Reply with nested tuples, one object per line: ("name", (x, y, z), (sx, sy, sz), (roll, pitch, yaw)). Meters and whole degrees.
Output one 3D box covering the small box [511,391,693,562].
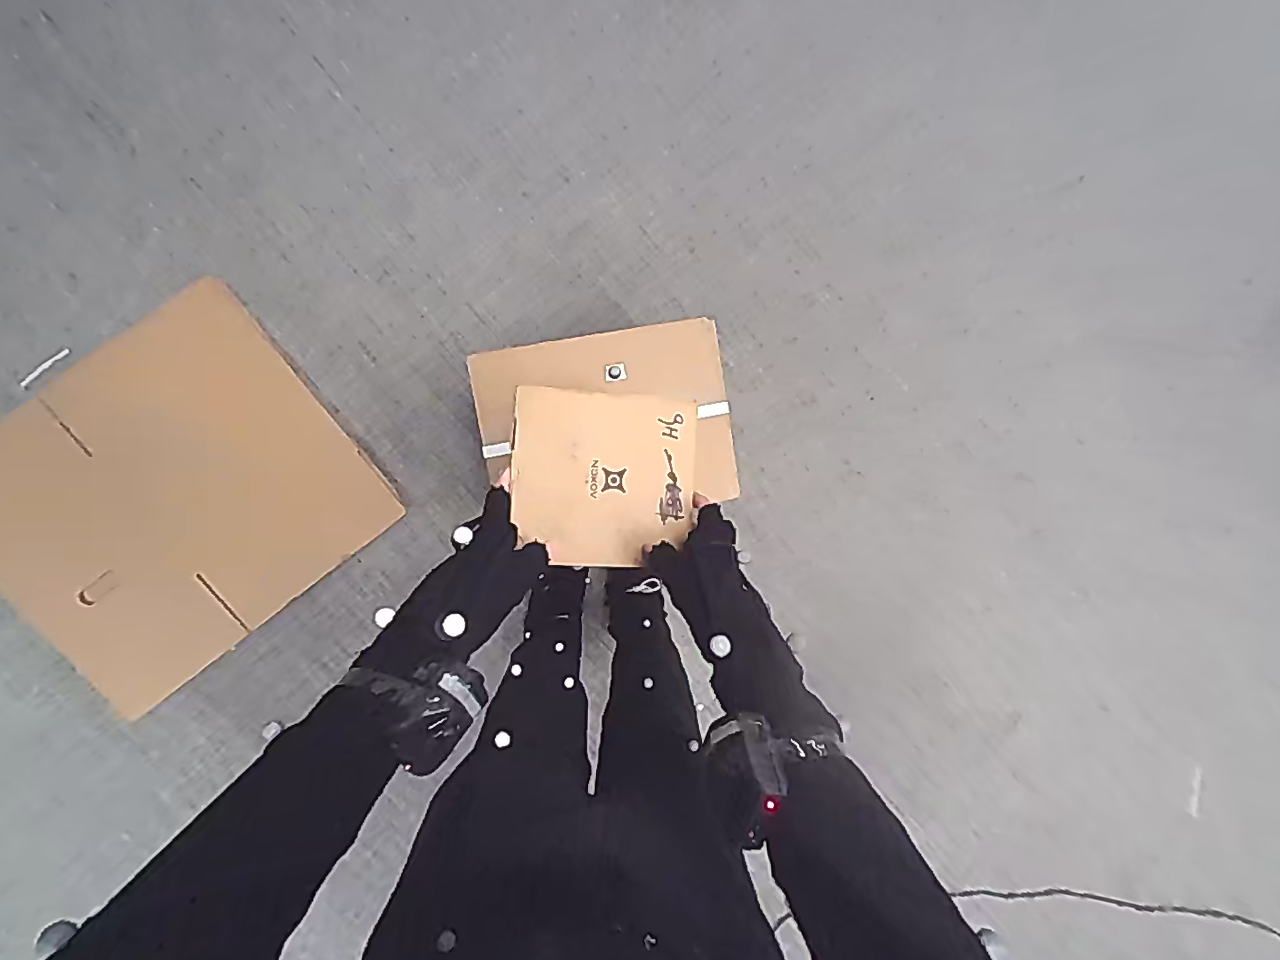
("small box", (-0.047, 0.002, 0.596), (0.179, 0.176, 0.168), (0, 87, -10))
